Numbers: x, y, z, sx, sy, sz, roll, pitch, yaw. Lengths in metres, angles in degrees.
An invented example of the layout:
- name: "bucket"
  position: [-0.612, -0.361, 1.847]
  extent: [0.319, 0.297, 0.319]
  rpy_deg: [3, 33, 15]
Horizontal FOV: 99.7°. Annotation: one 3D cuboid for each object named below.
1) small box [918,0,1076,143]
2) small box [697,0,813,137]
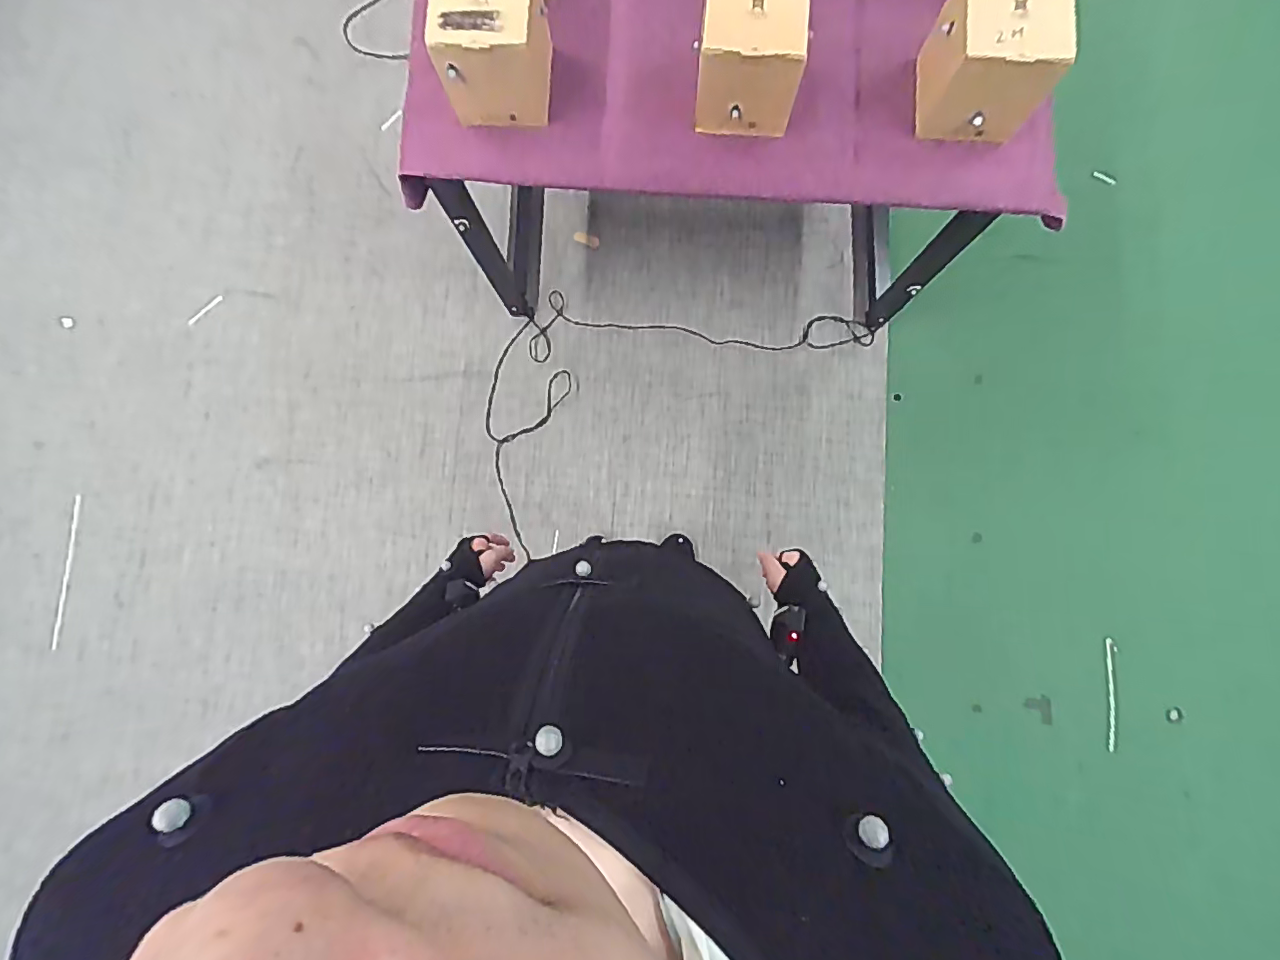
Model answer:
- name: "small box"
  position: [0.595, -0.718, 0.919]
  extent: [0.168, 0.176, 0.179]
  rpy_deg: [5, 83, 3]
- name: "small box"
  position: [0.191, -0.740, 0.935]
  extent: [0.168, 0.176, 0.179]
  rpy_deg: [5, 83, 1]
